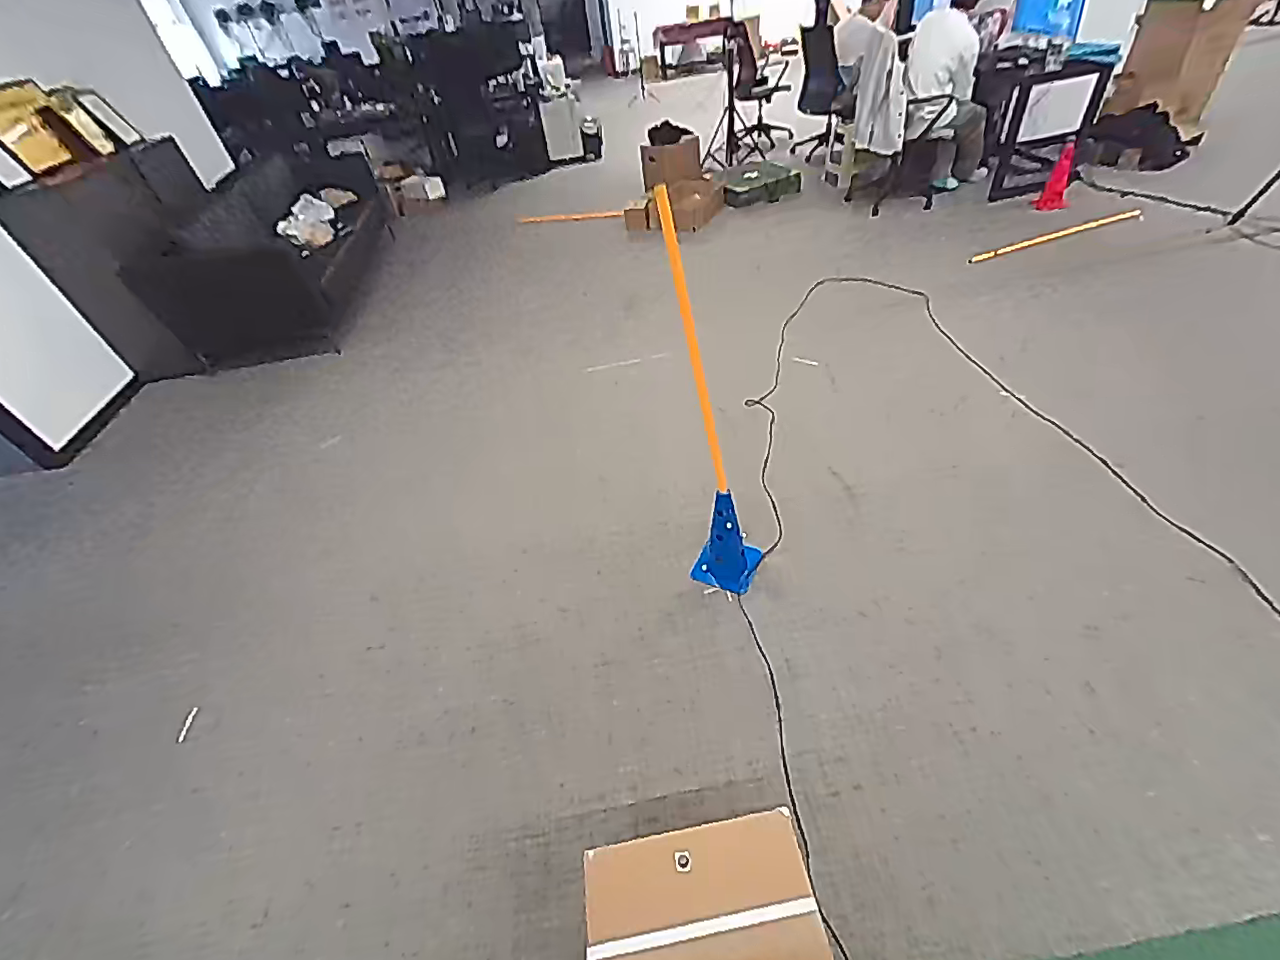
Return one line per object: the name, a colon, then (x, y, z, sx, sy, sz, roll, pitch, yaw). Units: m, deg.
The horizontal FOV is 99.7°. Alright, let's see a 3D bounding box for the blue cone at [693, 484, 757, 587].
blue cone: (0.267, 0.157, 1.725, 0.192, 0.380, 0.193, 12, 48, 23)
